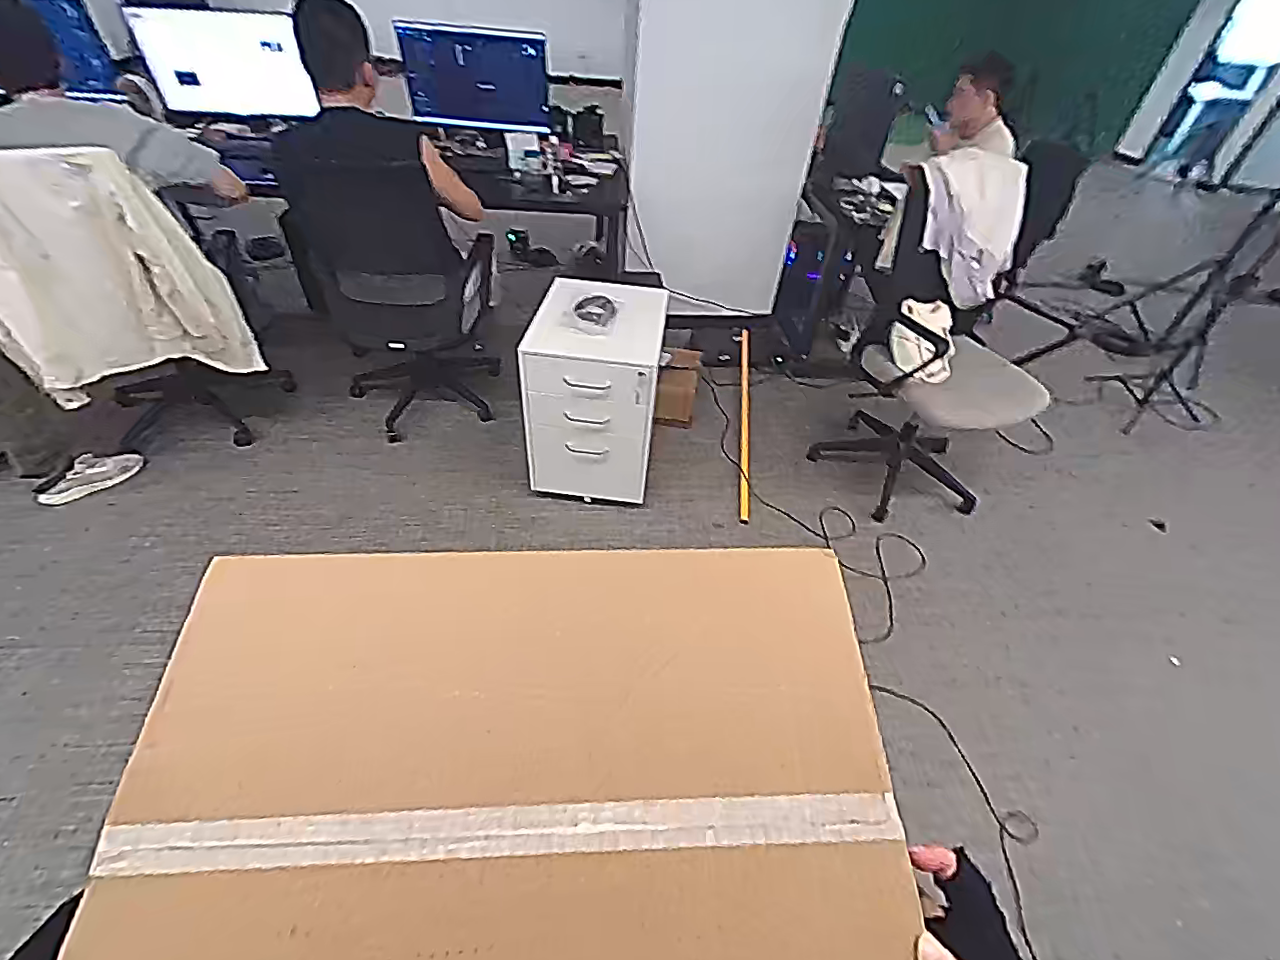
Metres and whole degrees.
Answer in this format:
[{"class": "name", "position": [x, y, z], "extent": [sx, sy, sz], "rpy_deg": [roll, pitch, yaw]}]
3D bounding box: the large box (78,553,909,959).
[{"class": "large box", "position": [-0.074, 0.263, 0.414], "extent": [0.408, 0.320, 0.320], "rpy_deg": [-1, 60, -3]}]
